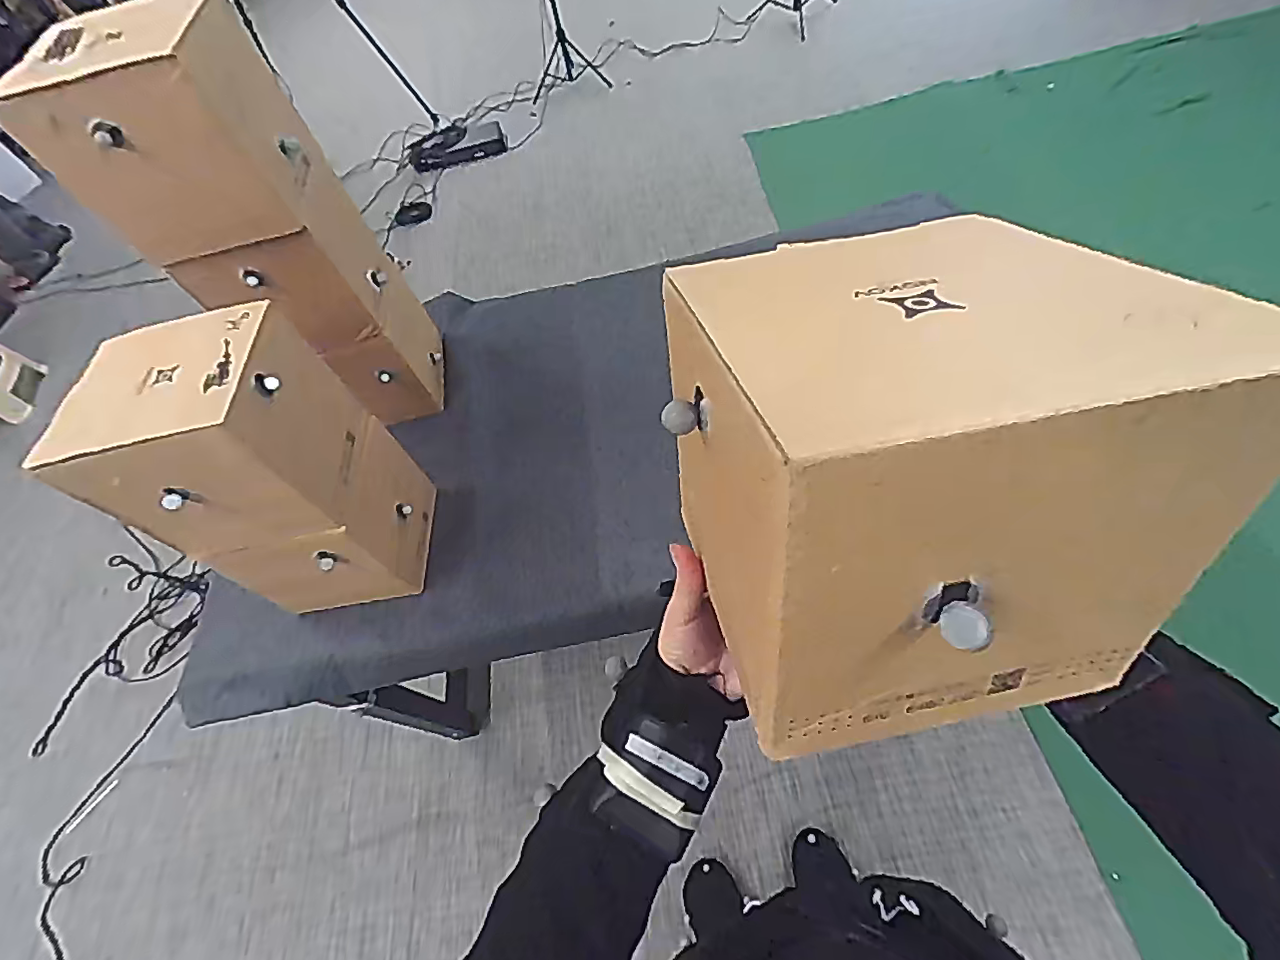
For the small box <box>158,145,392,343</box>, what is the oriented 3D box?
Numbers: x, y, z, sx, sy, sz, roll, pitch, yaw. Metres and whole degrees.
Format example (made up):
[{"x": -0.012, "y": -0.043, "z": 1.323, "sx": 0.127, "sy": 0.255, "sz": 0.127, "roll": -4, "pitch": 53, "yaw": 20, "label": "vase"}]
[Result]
[{"x": -0.452, "y": -0.289, "z": 0.701, "sx": 0.179, "sy": 0.176, "sz": 0.168, "roll": -14, "pitch": 60, "yaw": 0, "label": "small box"}]

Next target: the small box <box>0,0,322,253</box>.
[{"x": -0.472, "y": -0.364, "z": 0.556, "sx": 0.179, "sy": 0.176, "sz": 0.168, "roll": -13, "pitch": 60, "yaw": 2, "label": "small box"}]

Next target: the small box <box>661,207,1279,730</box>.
[{"x": 0.113, "y": -0.007, "z": 0.255, "sx": 0.168, "sy": 0.176, "sz": 0.179, "roll": -11, "pitch": 38, "yaw": -2, "label": "small box"}]

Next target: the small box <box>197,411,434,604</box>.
[{"x": -0.381, "y": 0.041, "z": 0.677, "sx": 0.179, "sy": 0.176, "sz": 0.168, "roll": -10, "pitch": 55, "yaw": 5, "label": "small box"}]

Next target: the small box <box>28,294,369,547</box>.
[{"x": -0.411, "y": -0.050, "z": 0.544, "sx": 0.179, "sy": 0.176, "sz": 0.168, "roll": -13, "pitch": 56, "yaw": 3, "label": "small box"}]
